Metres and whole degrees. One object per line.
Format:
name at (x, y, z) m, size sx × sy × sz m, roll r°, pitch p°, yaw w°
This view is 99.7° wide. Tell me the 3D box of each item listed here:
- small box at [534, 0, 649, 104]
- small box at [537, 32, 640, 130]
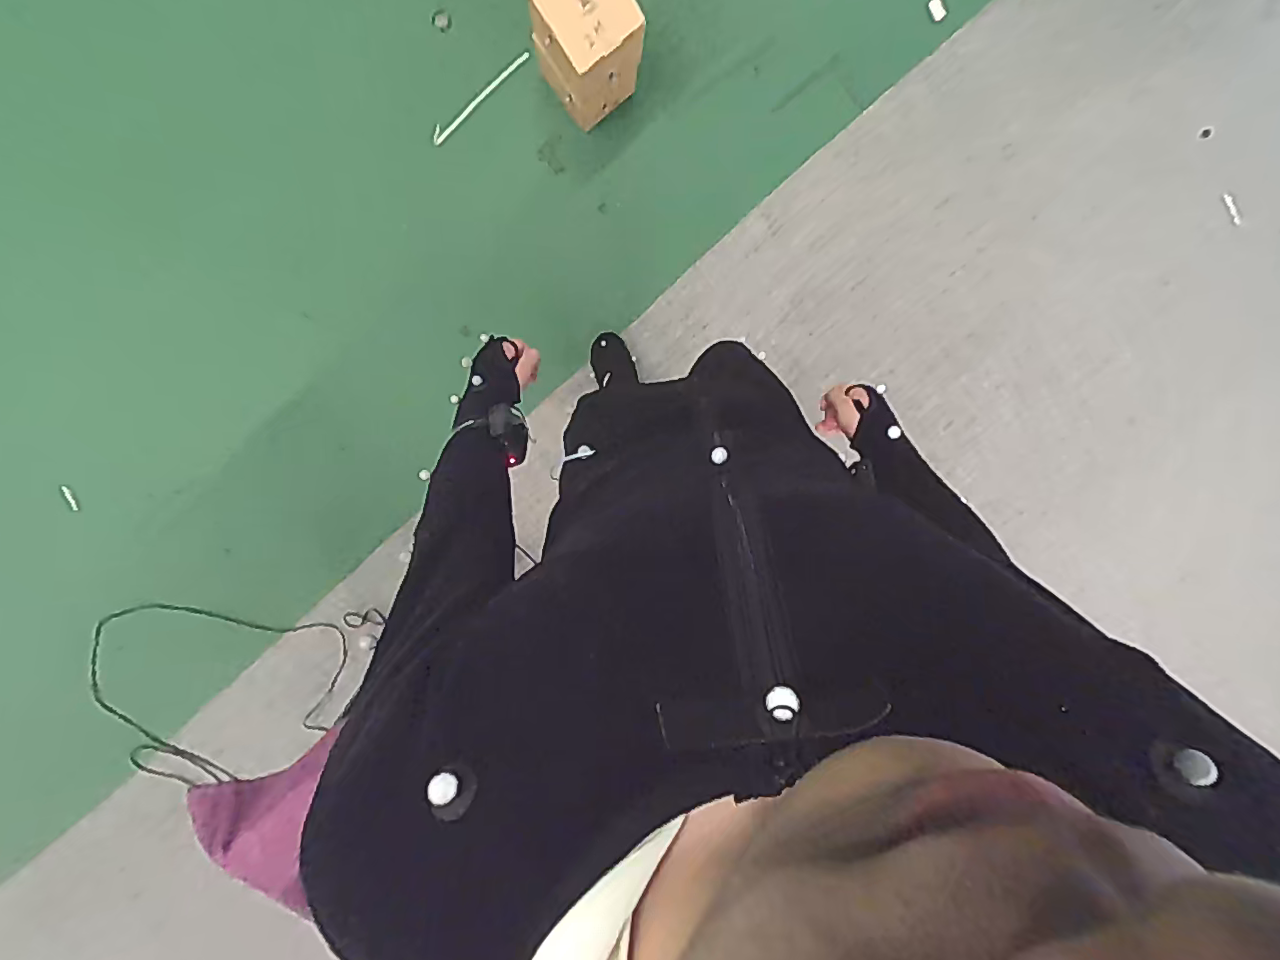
small box at (-0.103, -0.932, 1.116) m, size 0.168 × 0.176 × 0.179 m, roll -35°, pitch 105°, yaw 6°
small box at (-0.119, -0.977, 1.273) m, size 0.168 × 0.176 × 0.179 m, roll -37°, pitch 105°, yaw 6°
